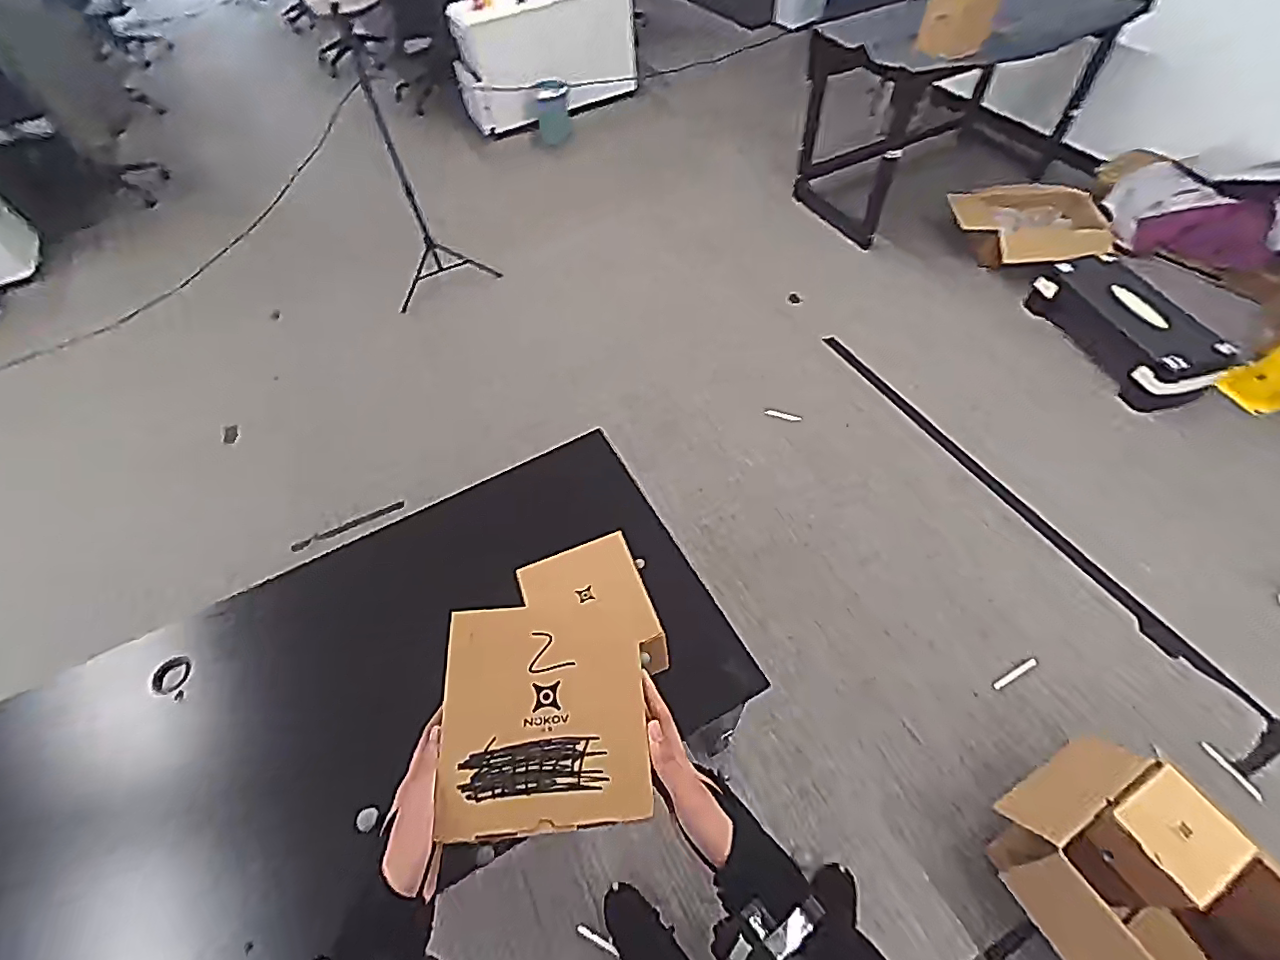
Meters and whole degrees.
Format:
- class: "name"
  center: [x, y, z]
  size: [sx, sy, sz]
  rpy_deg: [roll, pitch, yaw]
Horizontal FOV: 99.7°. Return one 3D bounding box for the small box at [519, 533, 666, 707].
- class: "small box"
  center: [-0.067, 0.214, 0.817]
  size: [0.168, 0.176, 0.179]
  rpy_deg: [-20, 56, -8]
